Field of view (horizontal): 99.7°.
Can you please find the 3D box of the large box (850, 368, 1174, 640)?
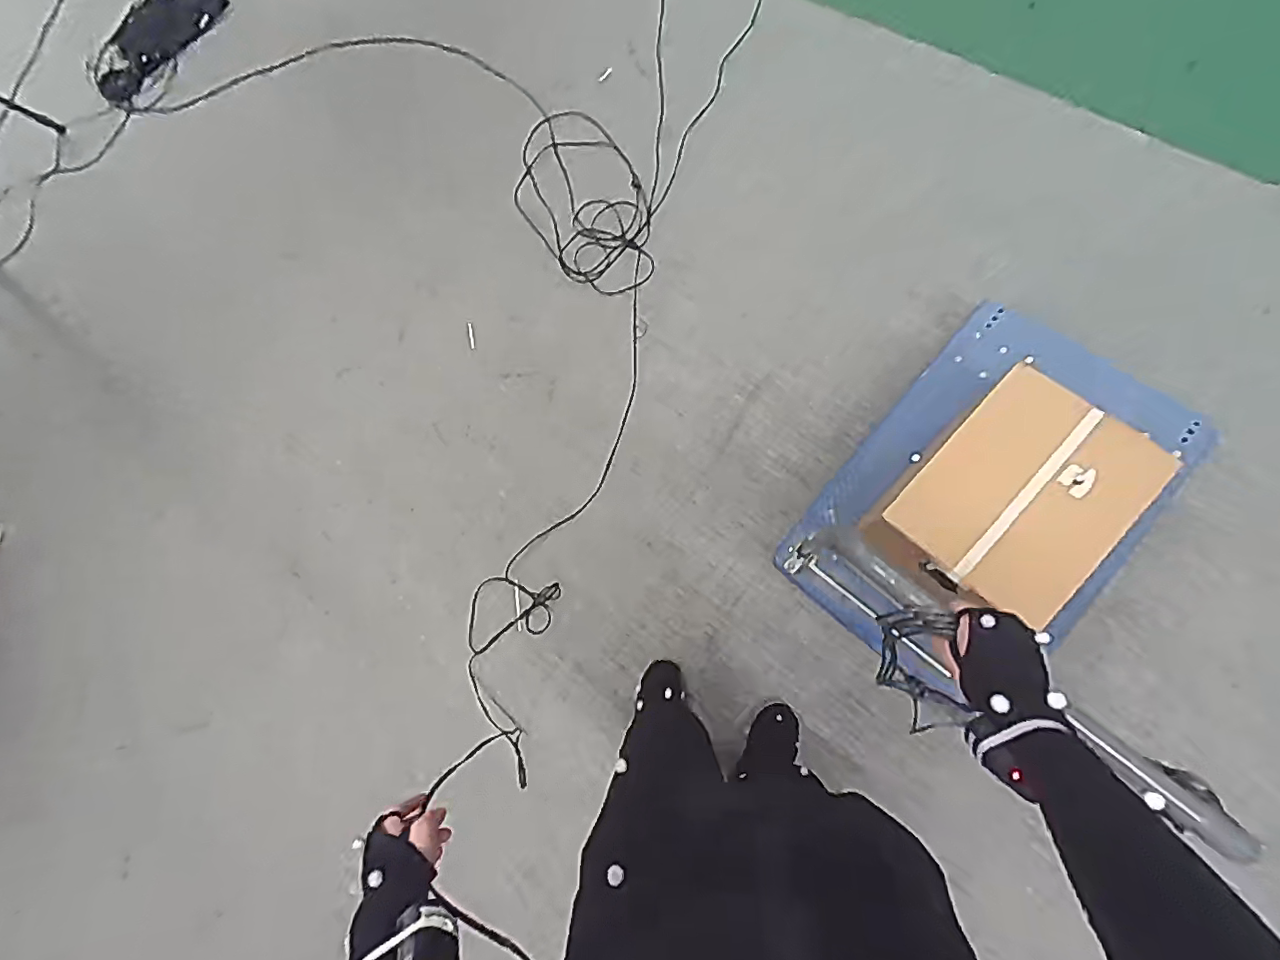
[{"bbox_3d":[0.701,0.067,1.095,0.320,0.320,0.408,42,85,16],"label":"large box"}]
